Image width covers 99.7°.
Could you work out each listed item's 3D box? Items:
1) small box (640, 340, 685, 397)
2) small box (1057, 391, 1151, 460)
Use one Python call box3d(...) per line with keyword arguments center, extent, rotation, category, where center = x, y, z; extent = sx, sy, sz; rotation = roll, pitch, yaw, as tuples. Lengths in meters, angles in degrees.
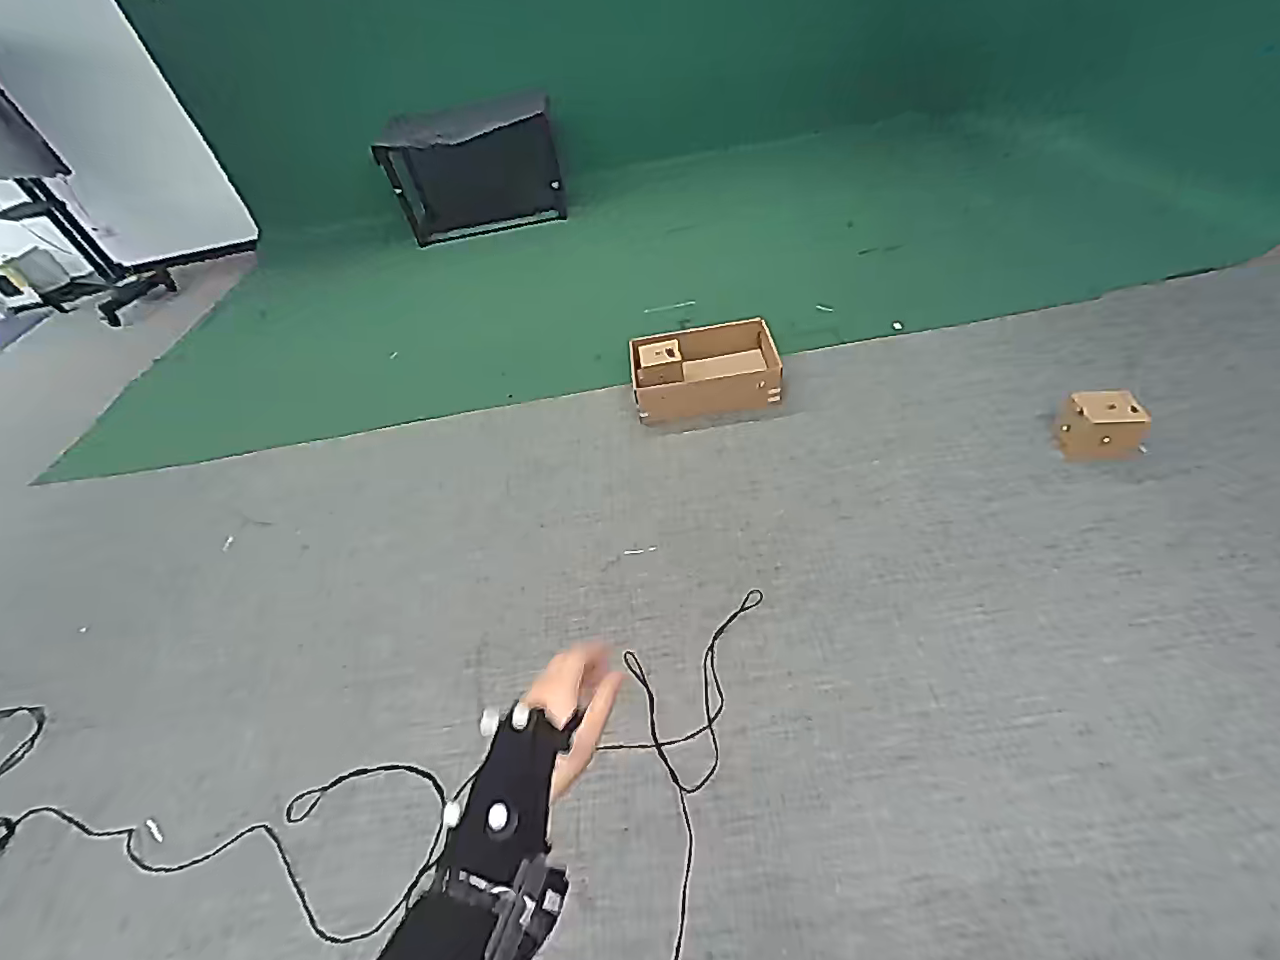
box3d(center=(0.100, -0.487, 2.371), extent=(0.179, 0.176, 0.168), rotation=(-9, 46, 4), category="small box")
box3d(center=(1.561, -0.181, 1.838), extent=(0.179, 0.176, 0.168), rotation=(-1, 46, 12), category="small box")
